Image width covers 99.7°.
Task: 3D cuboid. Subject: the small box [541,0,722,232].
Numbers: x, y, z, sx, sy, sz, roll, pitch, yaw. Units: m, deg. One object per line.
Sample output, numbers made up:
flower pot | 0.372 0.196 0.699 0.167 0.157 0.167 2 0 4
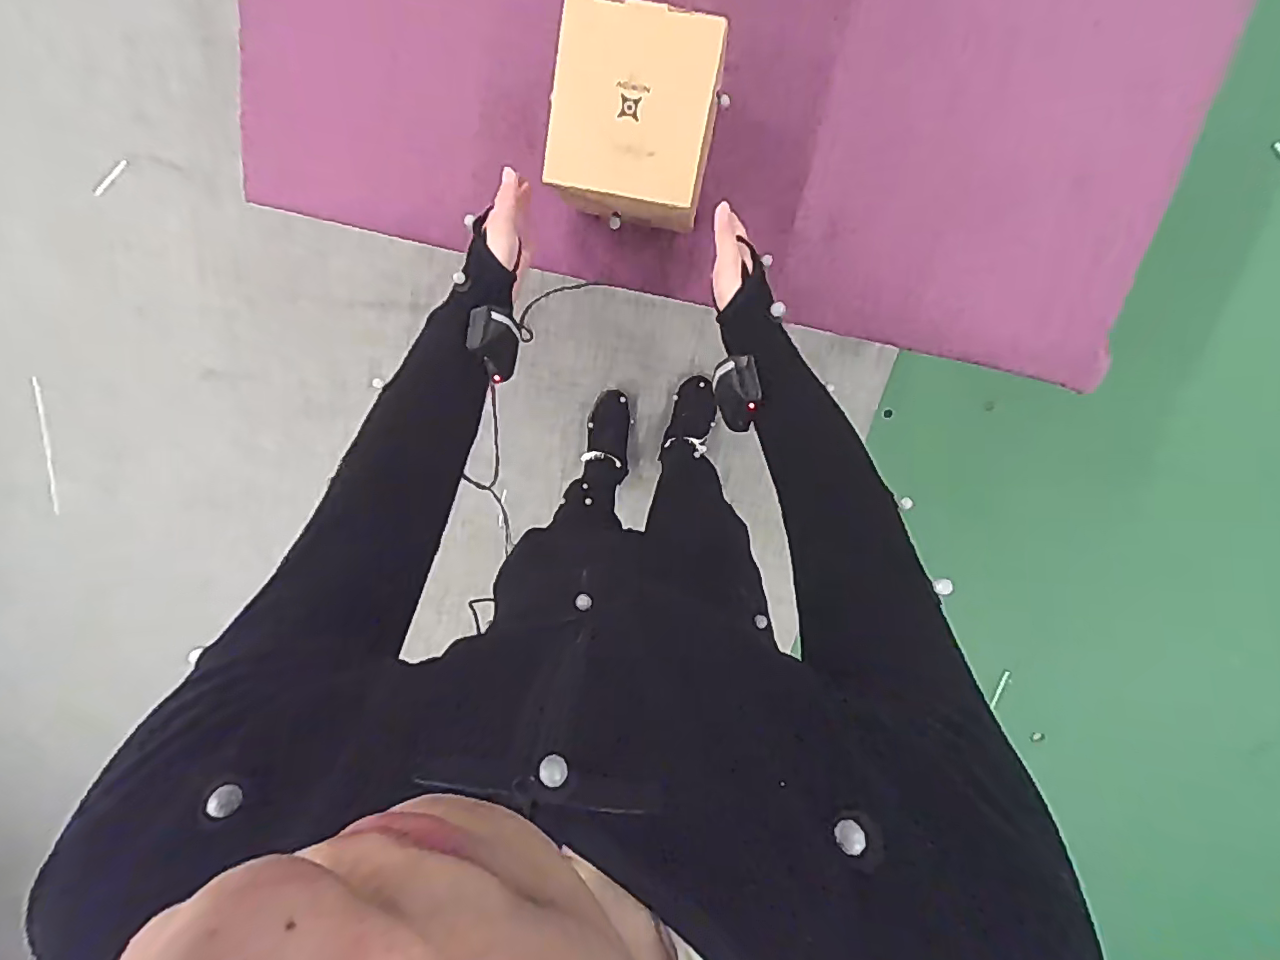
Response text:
small box | -0.005 -0.412 0.642 0.168 0.176 0.179 13 108 4
